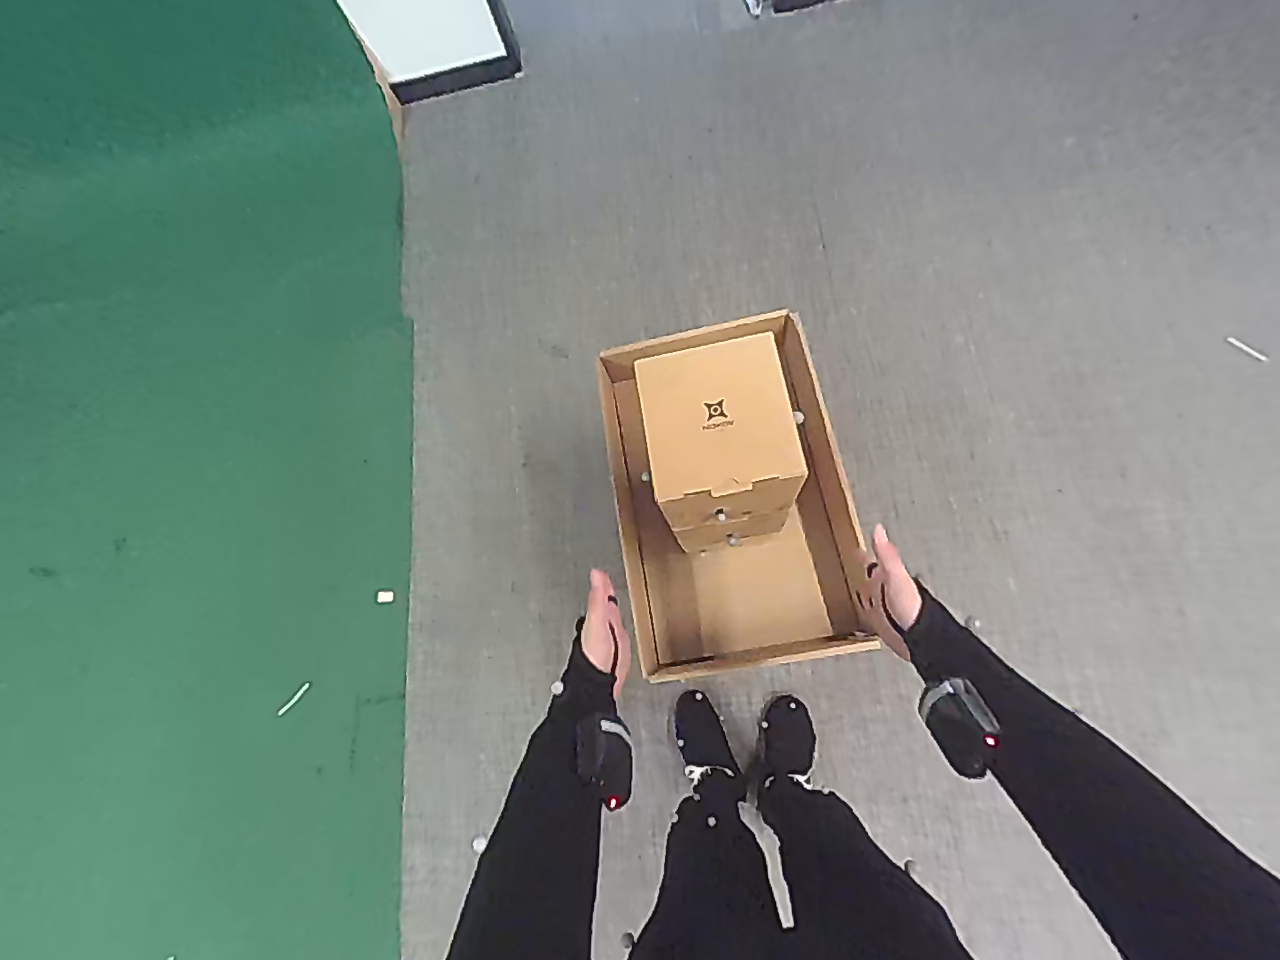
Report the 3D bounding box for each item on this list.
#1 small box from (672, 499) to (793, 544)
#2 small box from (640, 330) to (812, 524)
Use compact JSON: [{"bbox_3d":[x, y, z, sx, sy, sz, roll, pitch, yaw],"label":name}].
[{"bbox_3d":[0.125,-0.010,0.827,0.168,0.176,0.179,-11,74,6],"label":"small box"},{"bbox_3d":[0.099,-0.056,0.673,0.168,0.176,0.179,-11,74,5],"label":"small box"}]
